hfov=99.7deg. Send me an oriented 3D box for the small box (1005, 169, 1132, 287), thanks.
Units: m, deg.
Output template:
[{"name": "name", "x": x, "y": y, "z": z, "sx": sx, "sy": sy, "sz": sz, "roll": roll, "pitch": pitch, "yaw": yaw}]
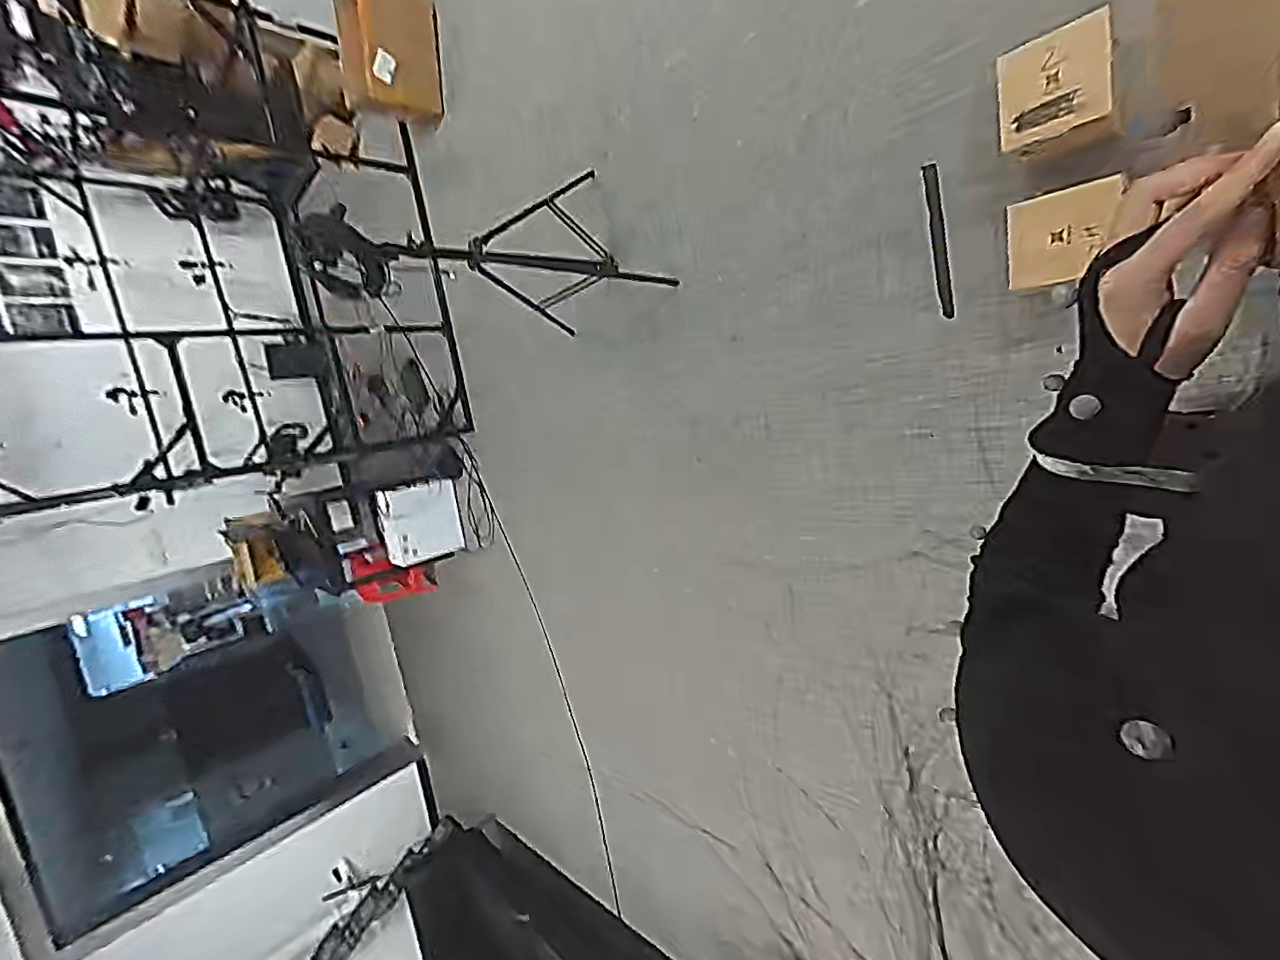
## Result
[{"name": "small box", "x": 0.848, "y": -0.484, "z": 1.069, "sx": 0.179, "sy": 0.176, "sz": 0.168, "roll": 1, "pitch": 104, "yaw": 45}]
